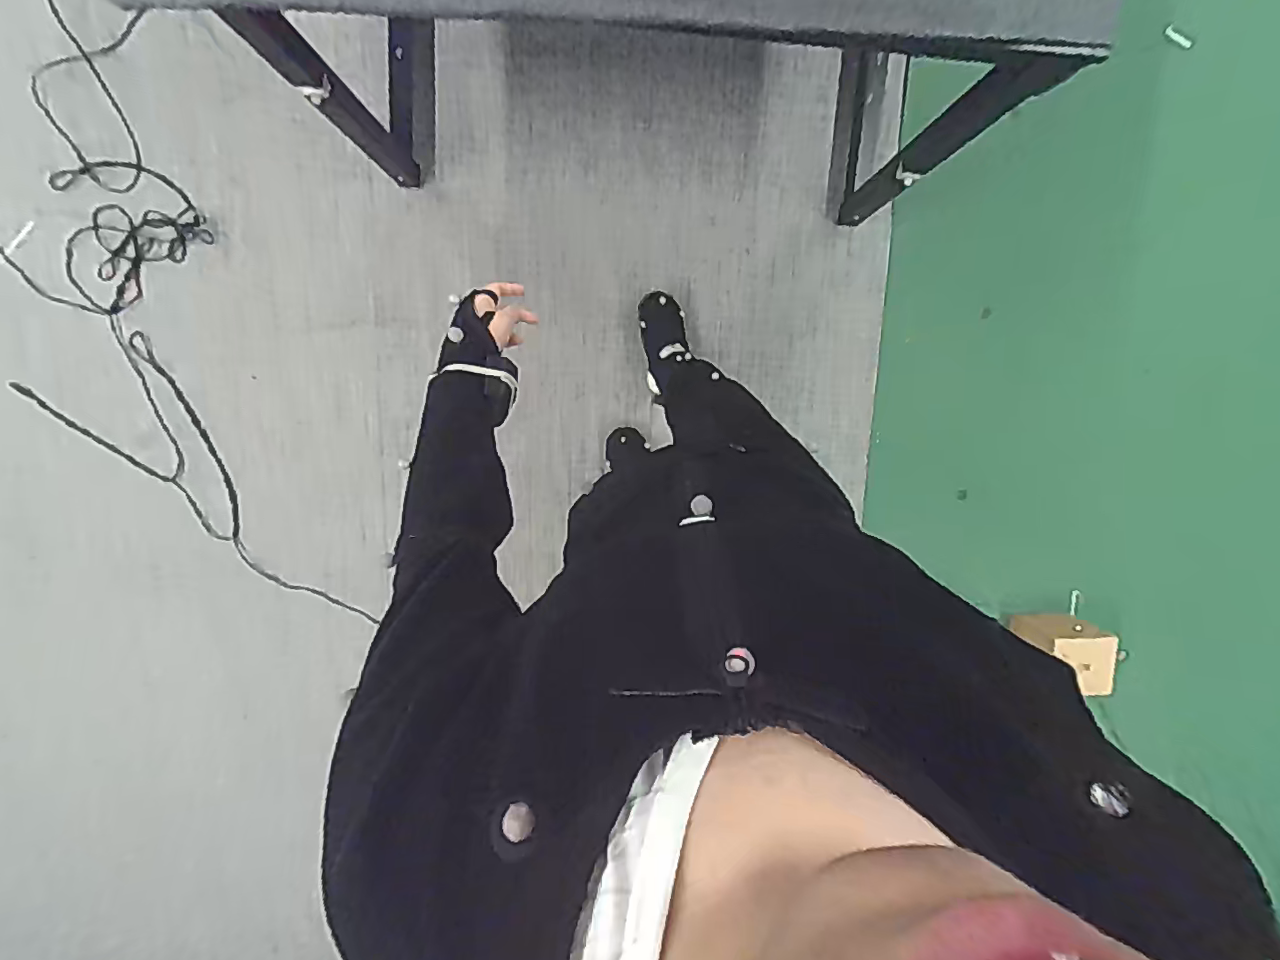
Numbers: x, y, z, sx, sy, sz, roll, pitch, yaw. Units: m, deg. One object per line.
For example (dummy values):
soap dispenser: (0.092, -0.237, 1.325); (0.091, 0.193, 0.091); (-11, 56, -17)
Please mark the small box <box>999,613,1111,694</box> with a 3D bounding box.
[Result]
small box: (1.161, 0.482, 1.523); (0.179, 0.176, 0.168); (-1, 98, -2)
